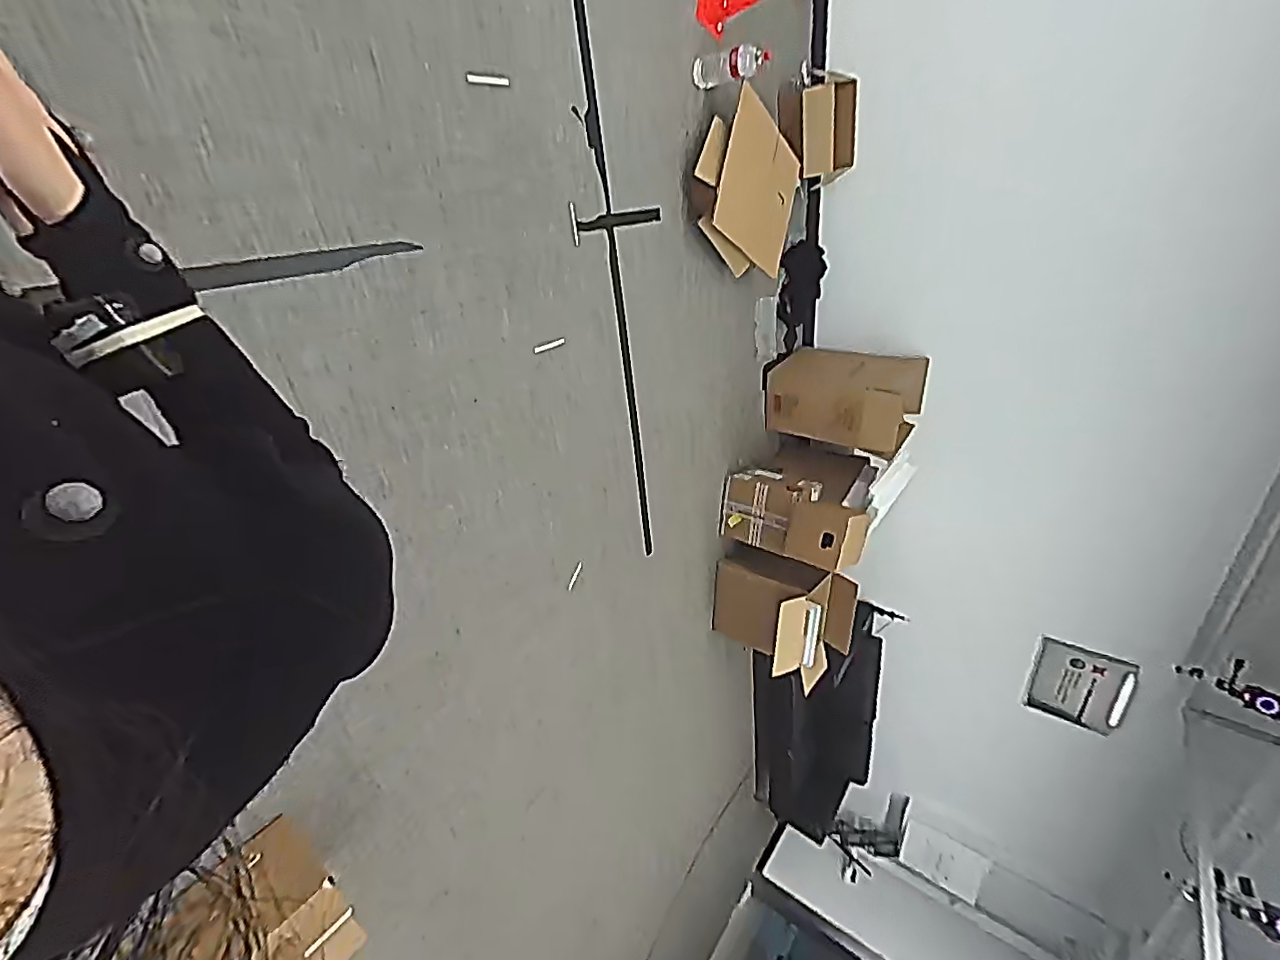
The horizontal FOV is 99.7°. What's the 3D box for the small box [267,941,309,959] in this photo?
[{"bbox_3d":[-0.858,1.266,1.286,0.179,0.176,0.168,-36,128,-41],"label":"small box"}]
